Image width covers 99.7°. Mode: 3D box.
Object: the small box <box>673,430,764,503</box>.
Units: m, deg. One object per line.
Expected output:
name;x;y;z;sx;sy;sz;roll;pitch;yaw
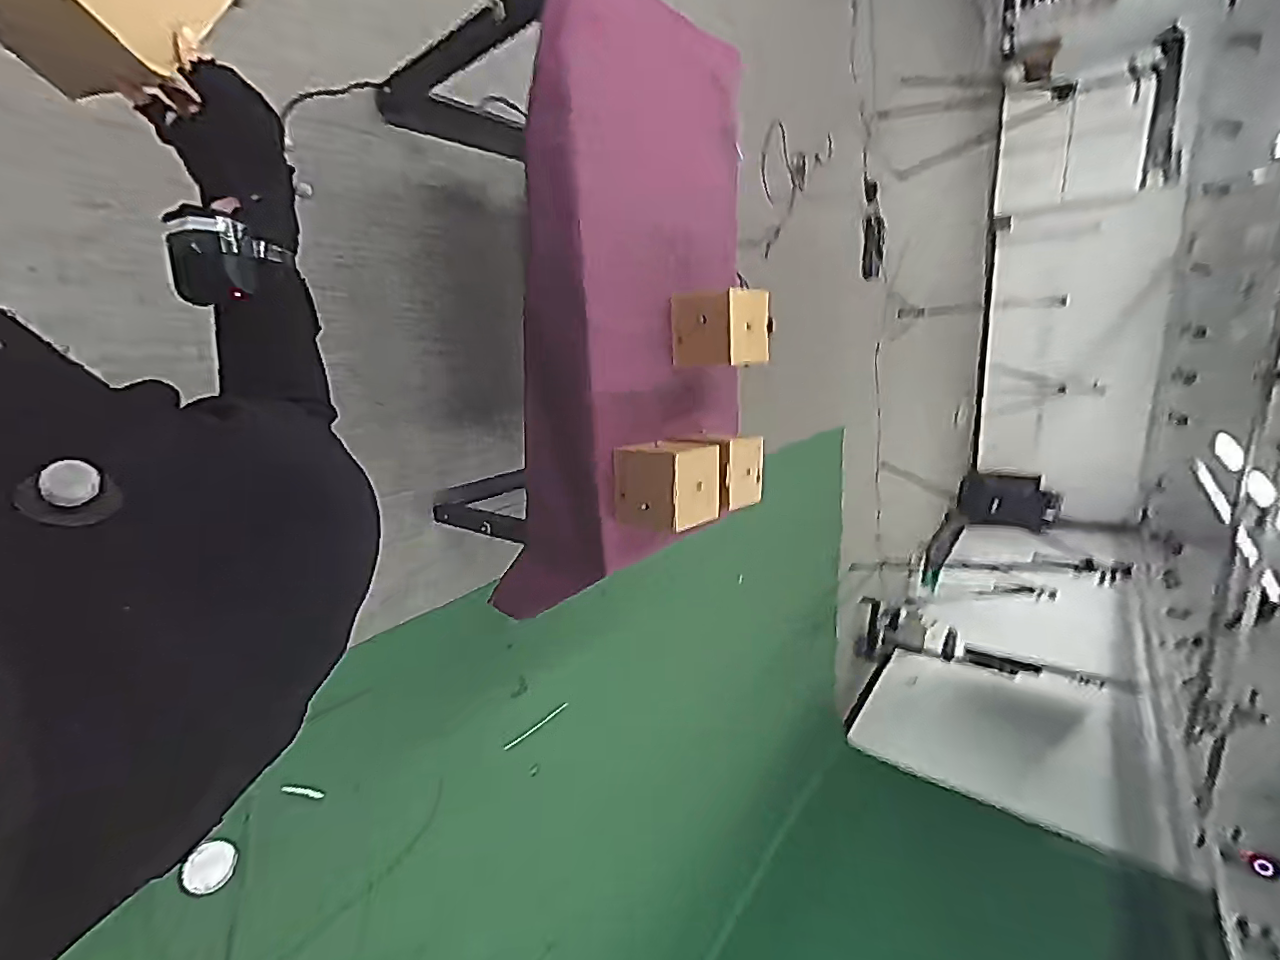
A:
small box;0.196;-0.039;1.364;0.179;0.176;0.168;-10;103;-50

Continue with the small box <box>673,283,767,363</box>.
small box;0.189;-0.374;1.304;0.179;0.176;0.168;-21;112;-49
